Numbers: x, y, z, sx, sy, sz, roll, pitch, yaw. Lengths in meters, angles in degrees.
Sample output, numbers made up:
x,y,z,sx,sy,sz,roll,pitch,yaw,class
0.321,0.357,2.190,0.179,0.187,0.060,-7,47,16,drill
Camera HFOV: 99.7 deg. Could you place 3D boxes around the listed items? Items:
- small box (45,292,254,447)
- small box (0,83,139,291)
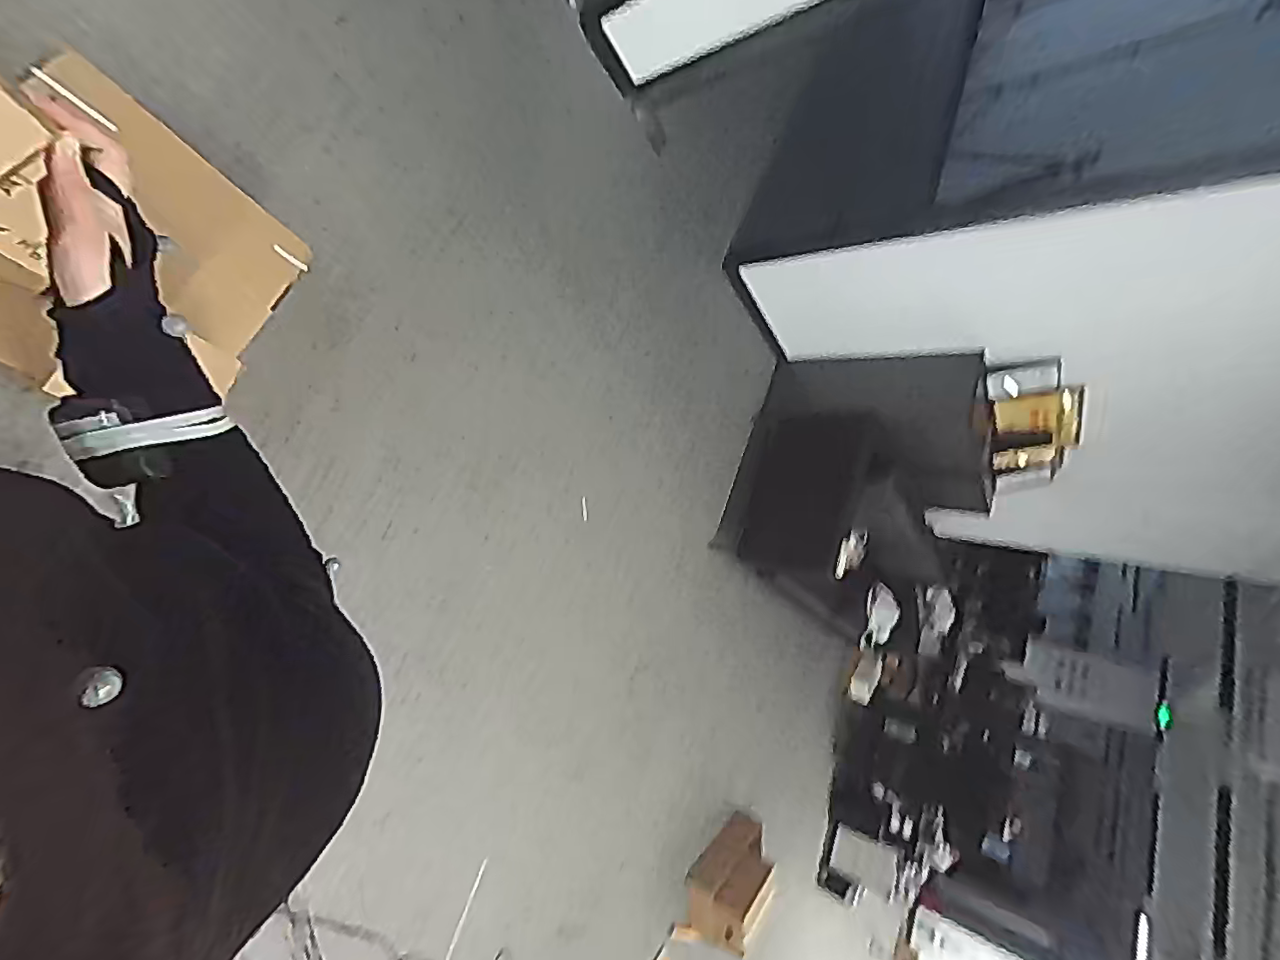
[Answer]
x,y,z,sx,sy,sz,roll,pitch,yaw,class
-0.768,-0.168,0.851,0.179,0.176,0.168,40,64,-47,small box
-0.842,-0.384,0.728,0.168,0.176,0.179,42,62,-45,small box
